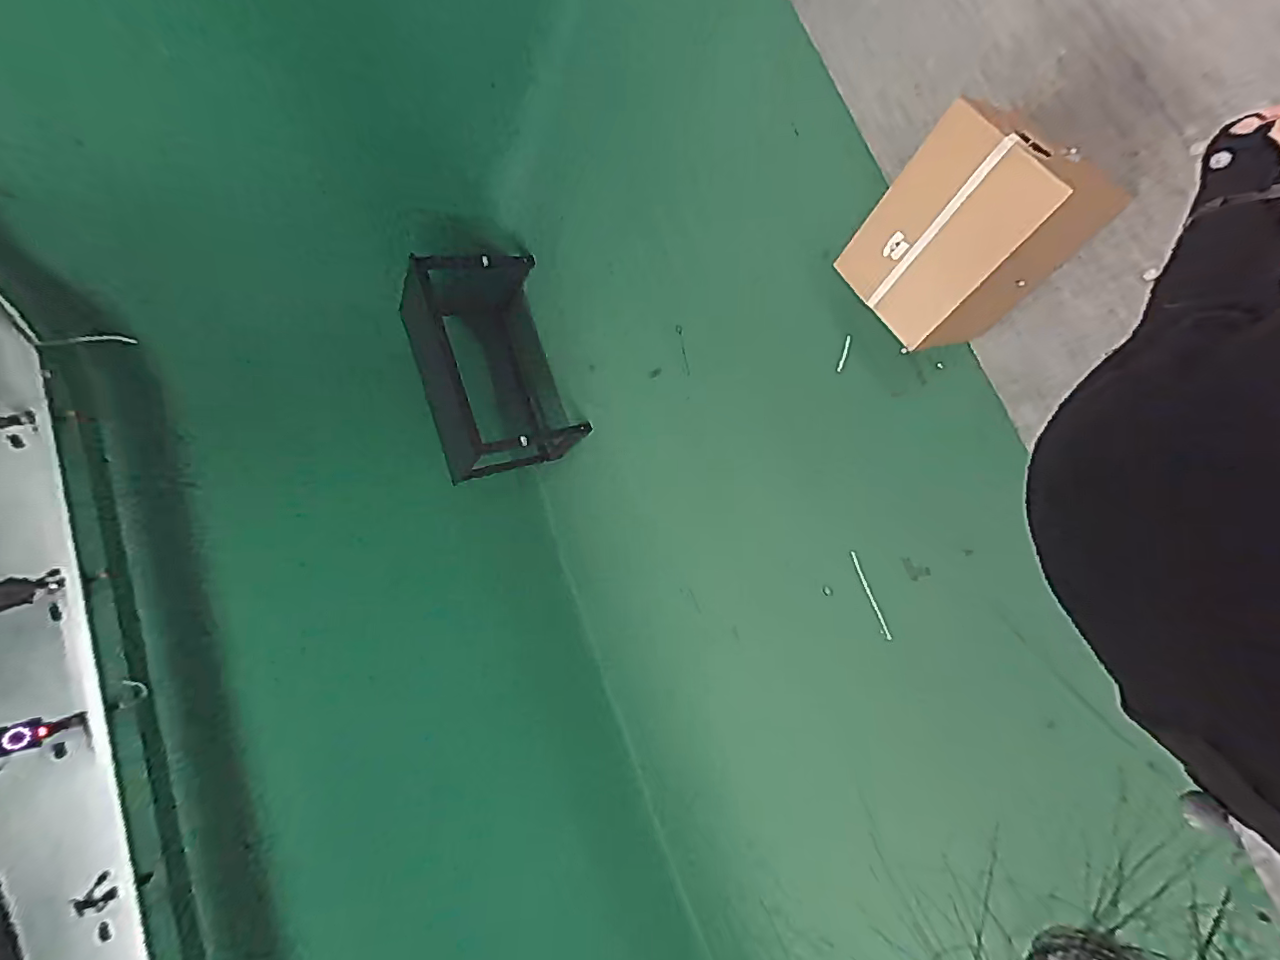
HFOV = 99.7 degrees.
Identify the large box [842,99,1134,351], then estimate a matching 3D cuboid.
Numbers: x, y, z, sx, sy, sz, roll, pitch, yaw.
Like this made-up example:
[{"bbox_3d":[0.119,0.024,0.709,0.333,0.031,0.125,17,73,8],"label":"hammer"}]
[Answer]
[{"bbox_3d":[0.765,-0.564,1.238,0.320,0.320,0.408,61,147,22],"label":"large box"}]
